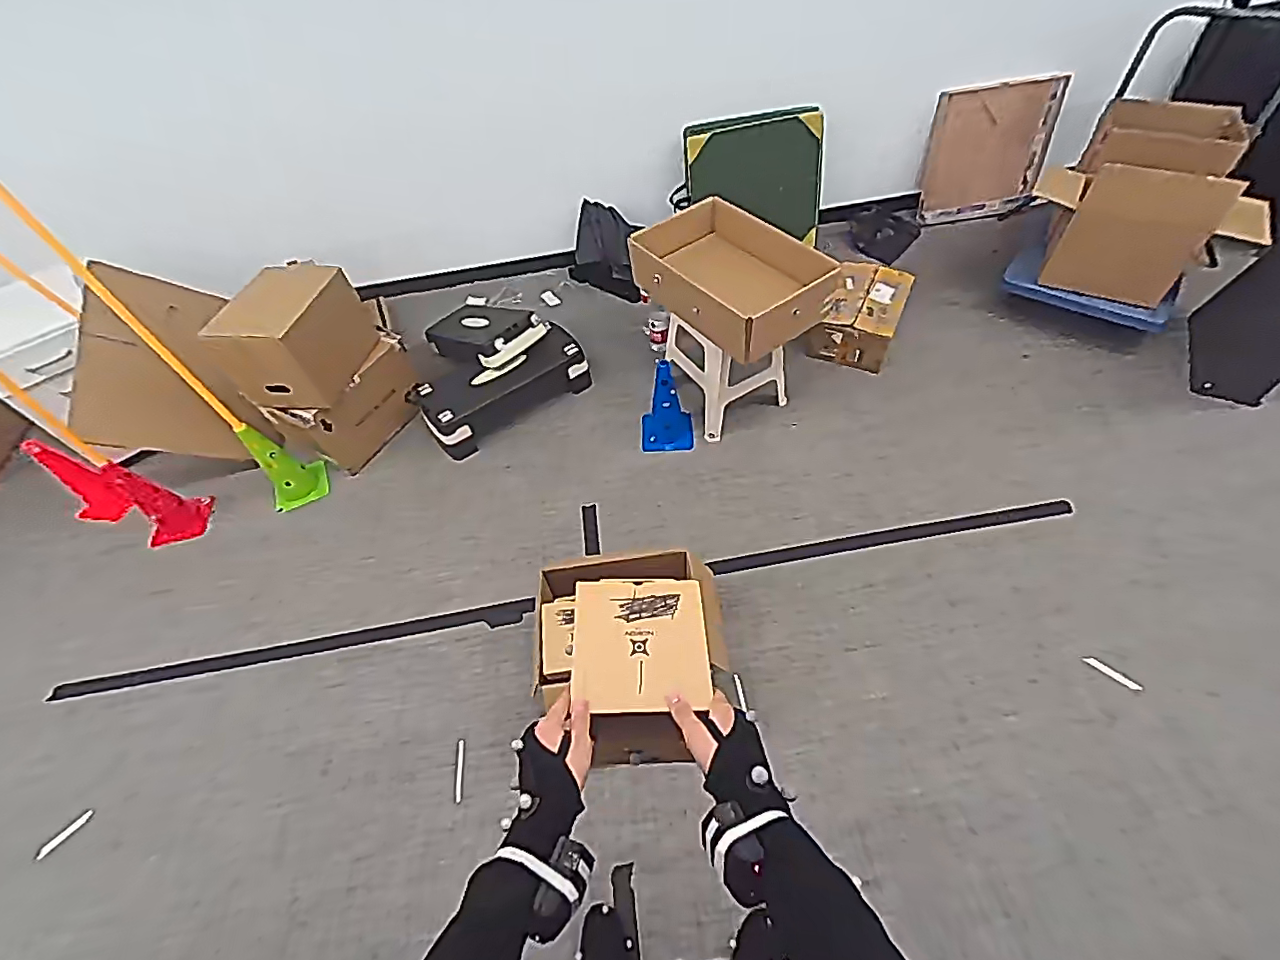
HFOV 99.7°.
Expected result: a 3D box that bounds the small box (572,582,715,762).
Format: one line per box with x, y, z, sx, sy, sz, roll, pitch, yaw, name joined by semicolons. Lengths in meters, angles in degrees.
0.000;0.256;0.724;0.168;0.176;0.179;0;45;-2;small box
